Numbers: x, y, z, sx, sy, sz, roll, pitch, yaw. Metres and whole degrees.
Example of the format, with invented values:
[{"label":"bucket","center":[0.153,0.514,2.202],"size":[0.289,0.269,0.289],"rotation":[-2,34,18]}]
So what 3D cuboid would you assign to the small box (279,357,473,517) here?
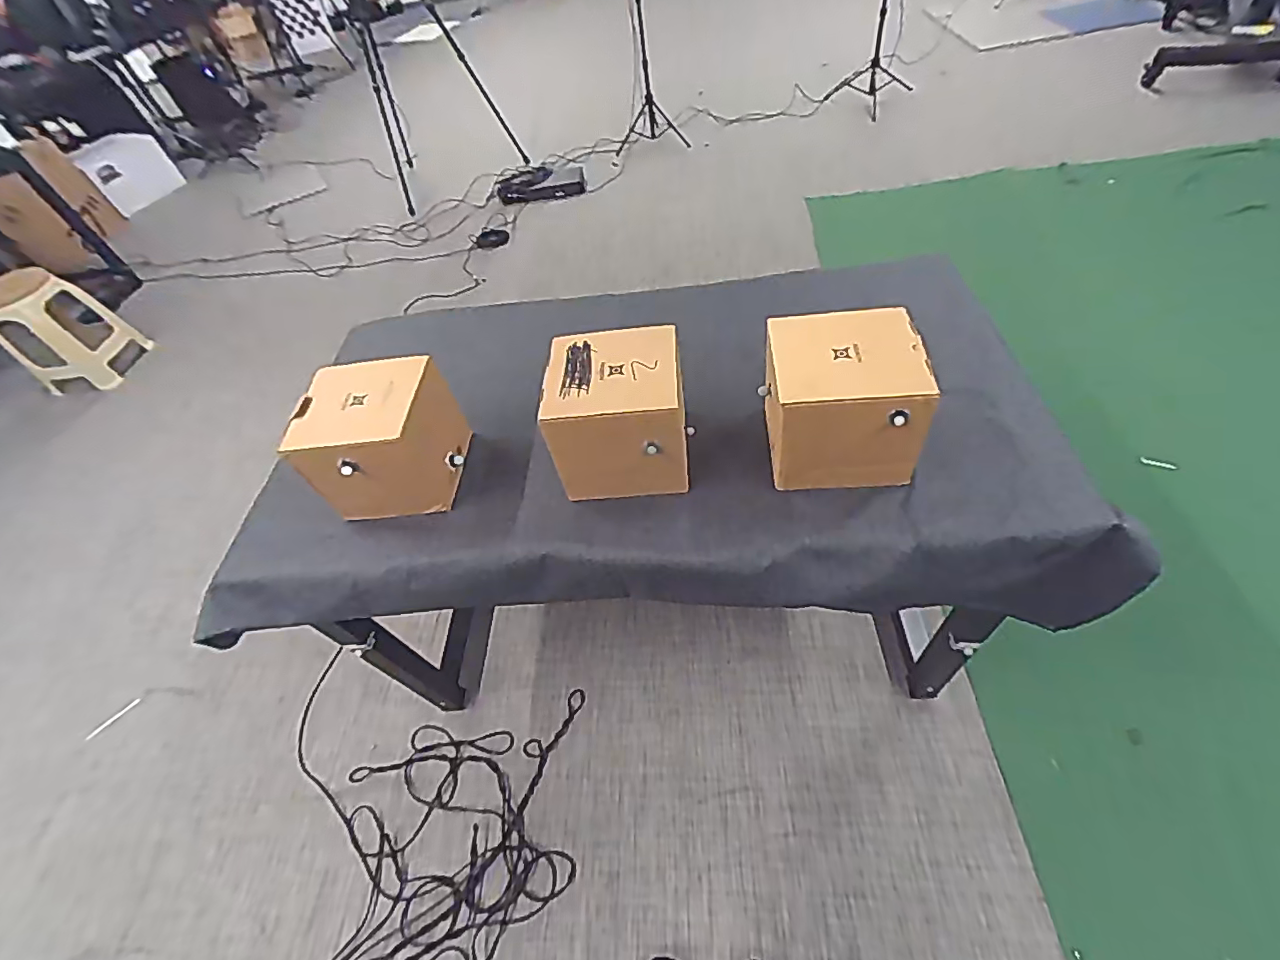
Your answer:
[{"label":"small box","center":[-0.373,-0.057,0.802],"size":[0.179,0.176,0.168],"rotation":[-5,52,6]}]

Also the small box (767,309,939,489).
[{"label":"small box","center":[0.262,-0.101,0.716],"size":[0.179,0.176,0.168],"rotation":[-3,51,9]}]
